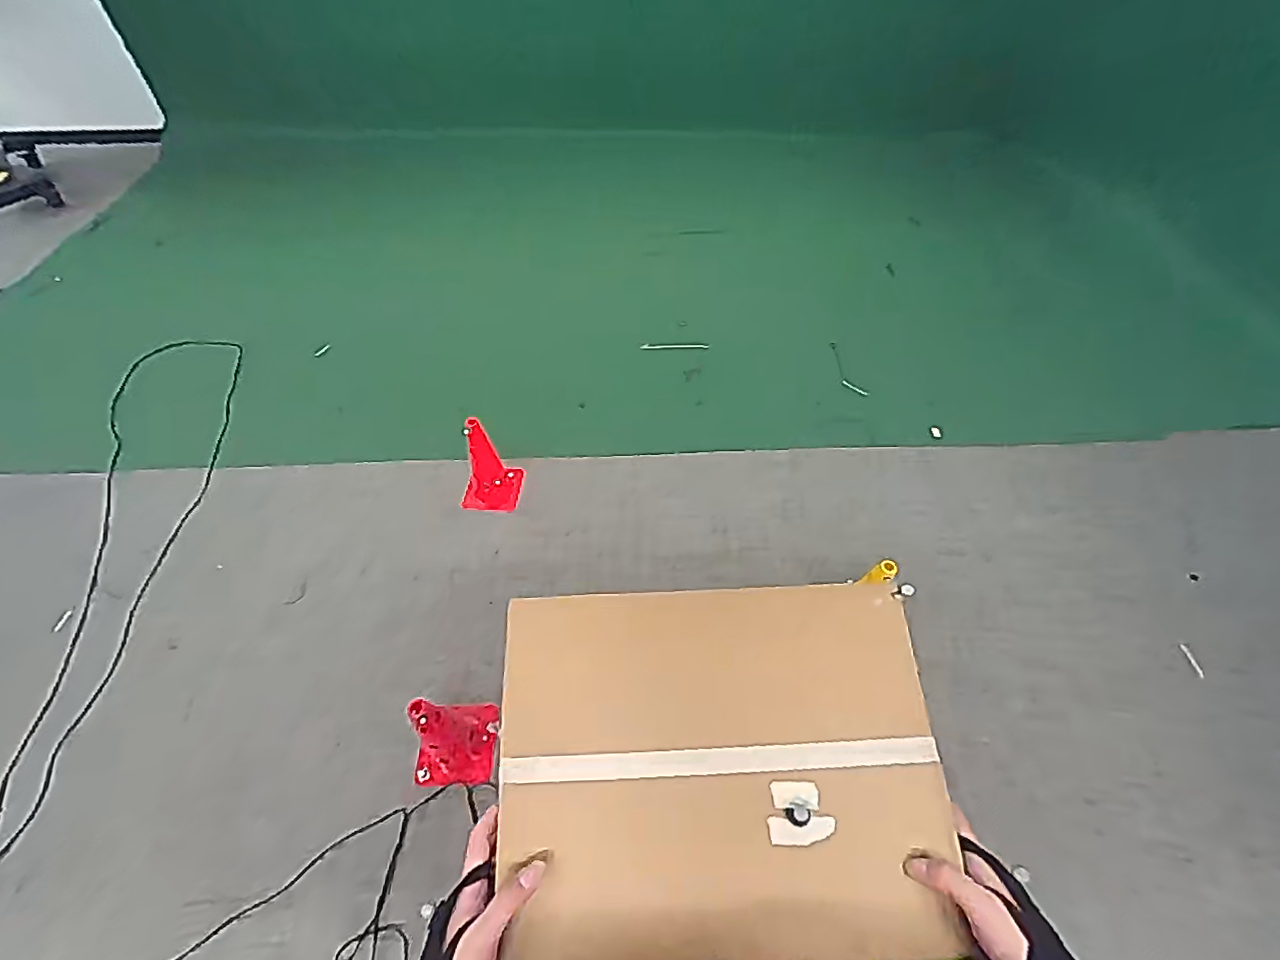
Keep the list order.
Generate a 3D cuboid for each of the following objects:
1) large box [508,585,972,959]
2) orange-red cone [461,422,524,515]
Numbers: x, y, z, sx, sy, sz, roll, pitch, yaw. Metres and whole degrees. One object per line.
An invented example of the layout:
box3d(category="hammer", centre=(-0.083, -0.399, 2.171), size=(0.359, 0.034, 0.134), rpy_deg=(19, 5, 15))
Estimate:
box3d(category="large box", centre=(0.076, 0.322, 0.647), size=(0.408, 0.320, 0.320), rpy_deg=(-3, 68, -1))
box3d(category="orange-red cone", centre=(-0.545, -0.062, 1.860), size=(0.199, 0.360, 0.198), rpy_deg=(3, 51, 4))
